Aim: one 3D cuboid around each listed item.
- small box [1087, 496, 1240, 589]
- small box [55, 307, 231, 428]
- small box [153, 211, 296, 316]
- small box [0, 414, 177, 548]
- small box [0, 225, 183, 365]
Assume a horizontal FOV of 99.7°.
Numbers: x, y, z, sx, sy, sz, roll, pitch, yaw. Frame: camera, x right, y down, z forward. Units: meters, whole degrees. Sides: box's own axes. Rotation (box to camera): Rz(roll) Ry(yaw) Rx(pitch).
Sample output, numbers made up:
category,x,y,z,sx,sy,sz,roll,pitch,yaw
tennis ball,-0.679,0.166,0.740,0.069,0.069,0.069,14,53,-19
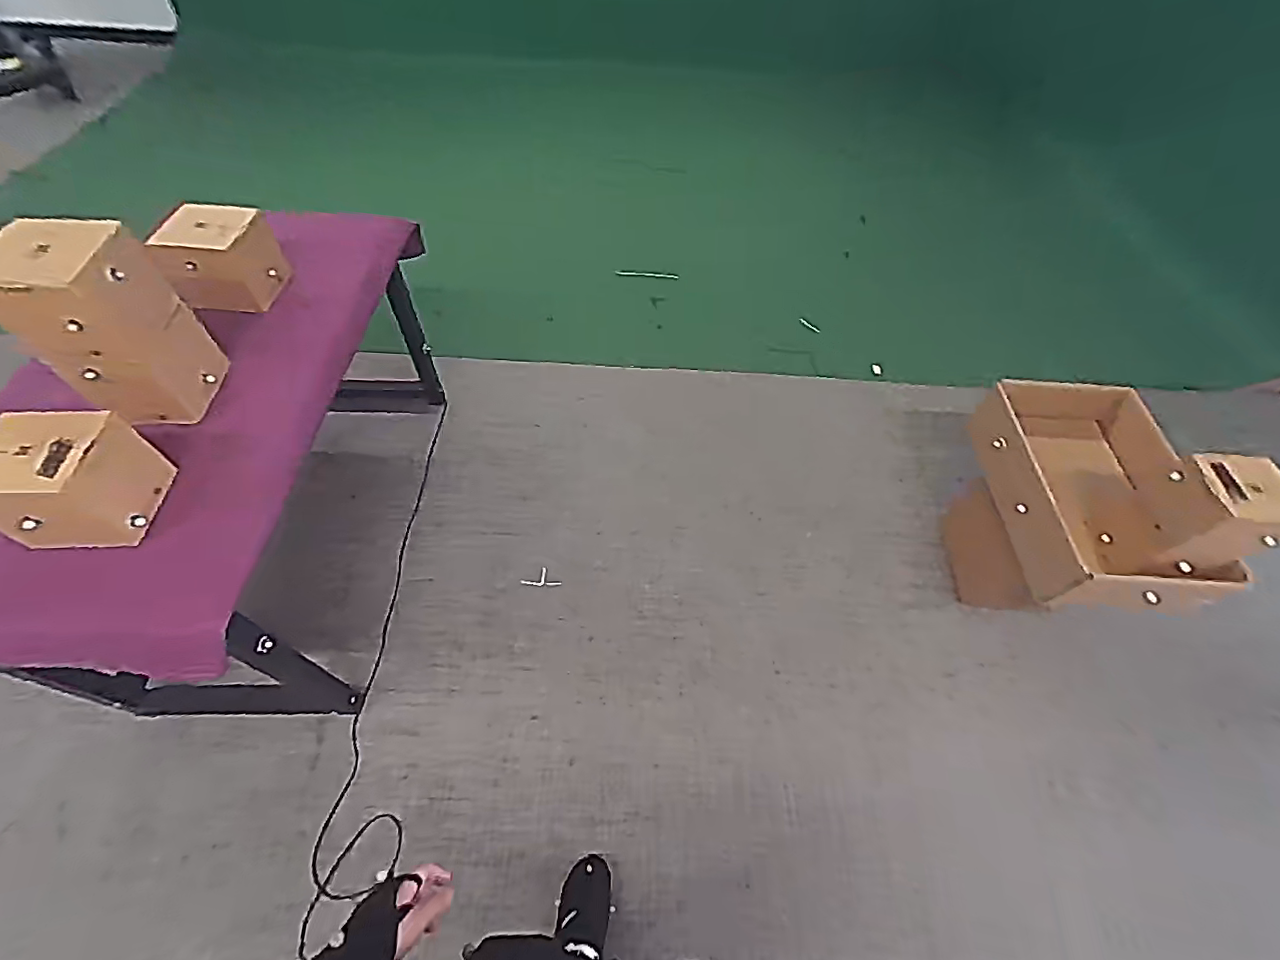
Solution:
category,x,y,z,sx,sy,sz,roll,pitch,yaw
small box,1.265,0.158,1.323,0.179,0.176,0.168,4,56,0
small box,-0.965,-0.224,1.076,0.168,0.176,0.179,-1,54,-4
small box,-0.965,-0.507,1.275,0.179,0.176,0.168,4,55,-1
small box,-0.949,0.006,0.912,0.179,0.176,0.168,-1,54,-3
small box,-0.956,-0.316,0.940,0.168,0.176,0.179,0,55,-5
